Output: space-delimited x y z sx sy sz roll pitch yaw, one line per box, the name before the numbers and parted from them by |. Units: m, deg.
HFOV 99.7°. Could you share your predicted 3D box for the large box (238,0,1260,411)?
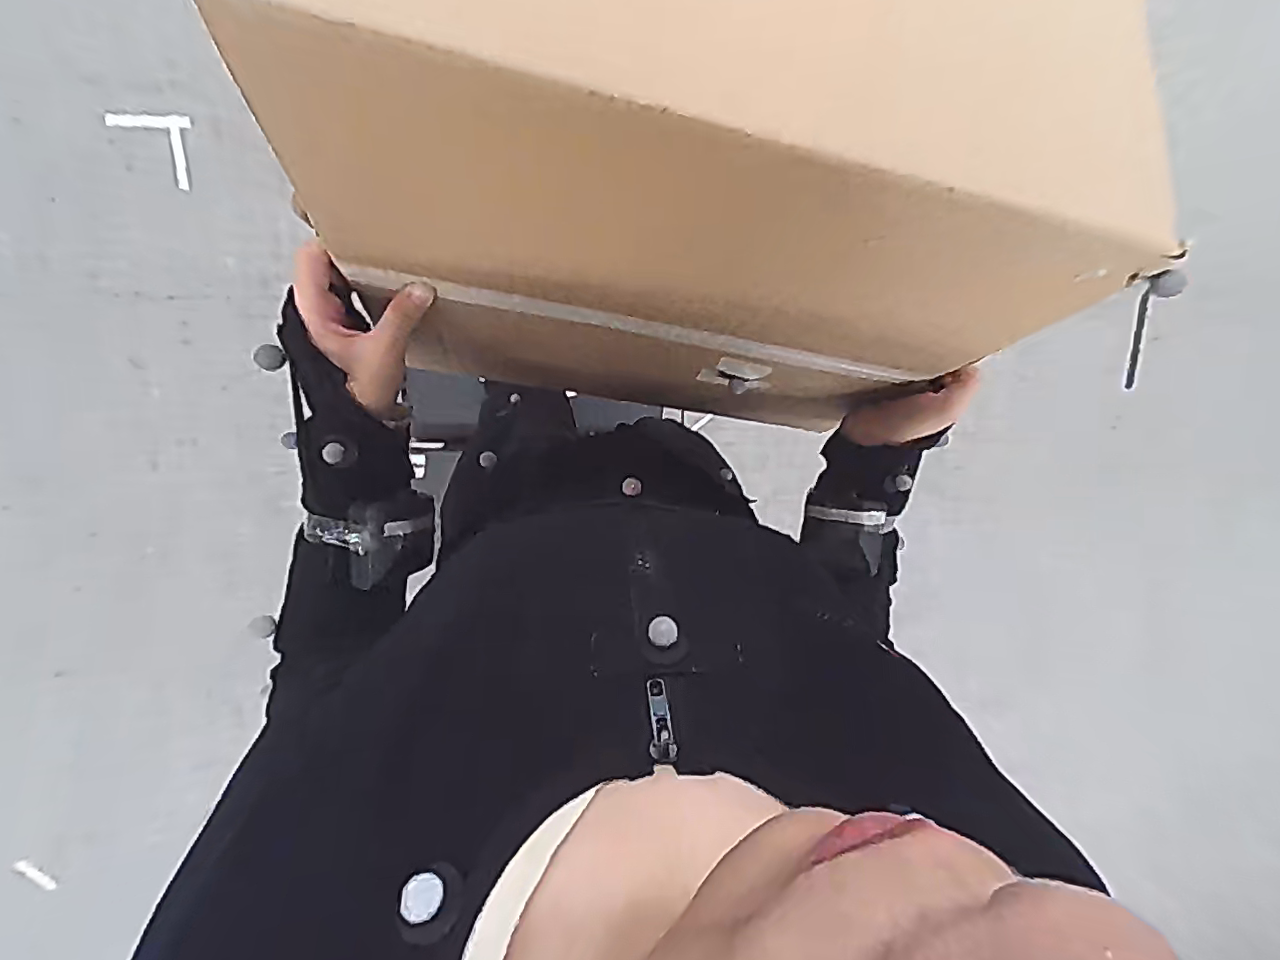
large box | 0.043 -0.261 0.362 0.408 0.320 0.320 6 79 -12
